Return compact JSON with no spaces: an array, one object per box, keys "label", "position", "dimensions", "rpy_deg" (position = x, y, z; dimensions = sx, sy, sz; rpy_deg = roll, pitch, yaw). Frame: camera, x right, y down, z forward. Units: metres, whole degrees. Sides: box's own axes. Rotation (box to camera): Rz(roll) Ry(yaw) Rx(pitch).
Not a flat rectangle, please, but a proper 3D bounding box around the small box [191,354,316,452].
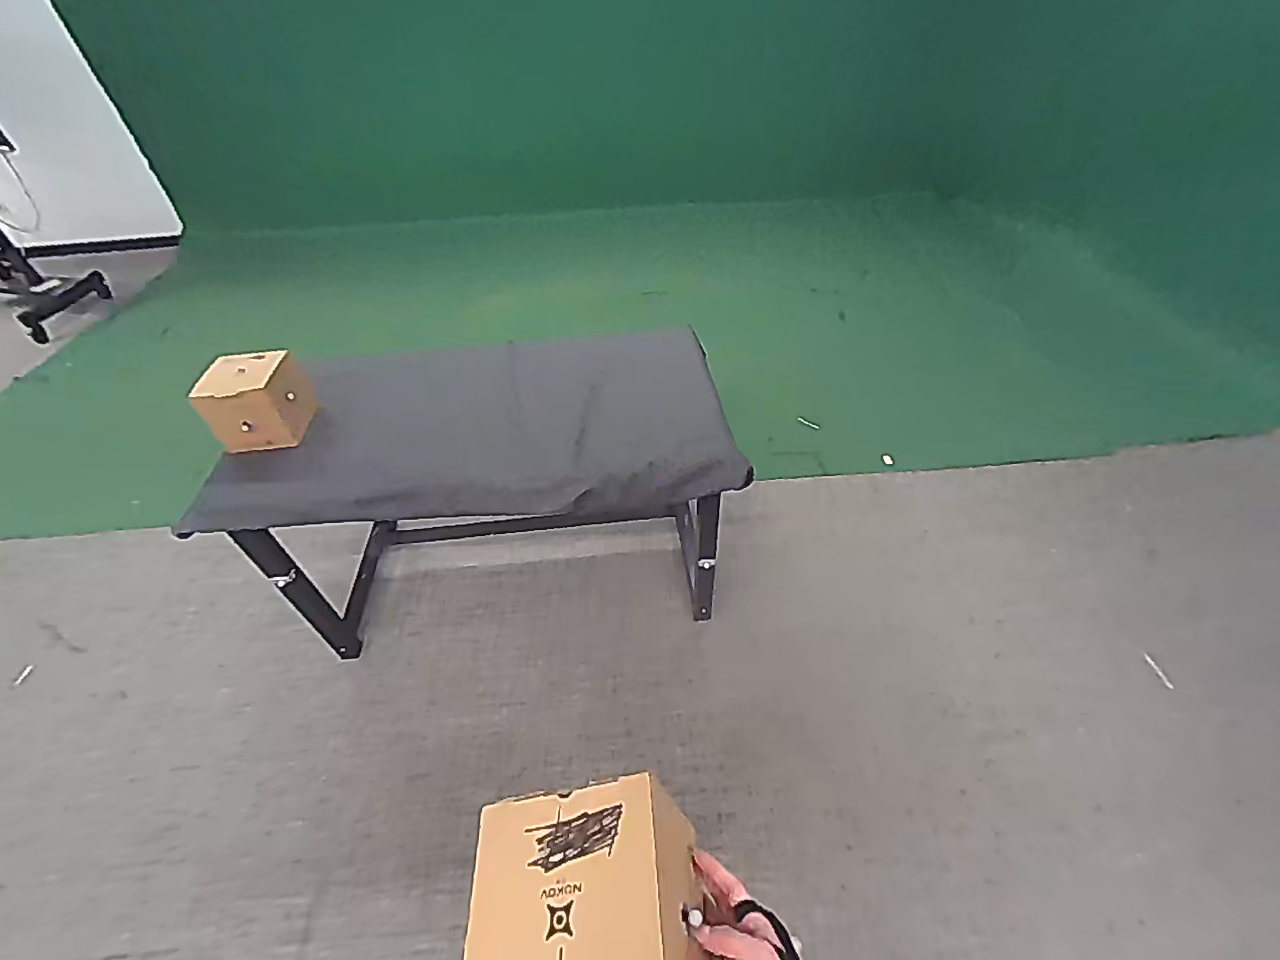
[{"label":"small box","position":[-0.926,-0.182,1.319],"dimensions":[0.168,0.176,0.179],"rpy_deg":[-6,45,-5]}]
